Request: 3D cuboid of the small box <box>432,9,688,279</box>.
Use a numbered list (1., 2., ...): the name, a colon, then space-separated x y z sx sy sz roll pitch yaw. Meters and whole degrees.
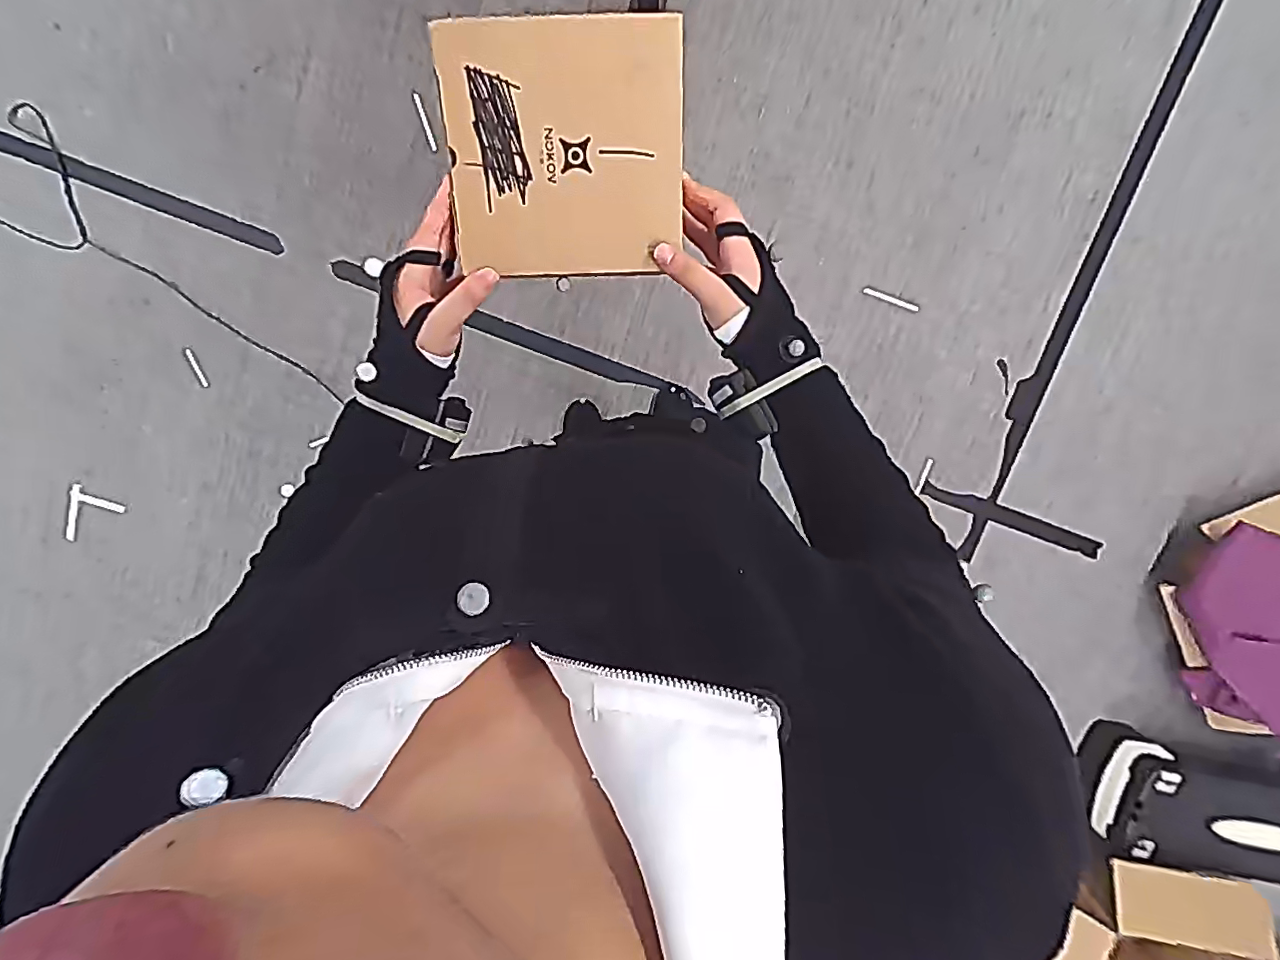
1. small box: -0.053 -0.262 0.463 0.179 0.176 0.168 -2 110 0
